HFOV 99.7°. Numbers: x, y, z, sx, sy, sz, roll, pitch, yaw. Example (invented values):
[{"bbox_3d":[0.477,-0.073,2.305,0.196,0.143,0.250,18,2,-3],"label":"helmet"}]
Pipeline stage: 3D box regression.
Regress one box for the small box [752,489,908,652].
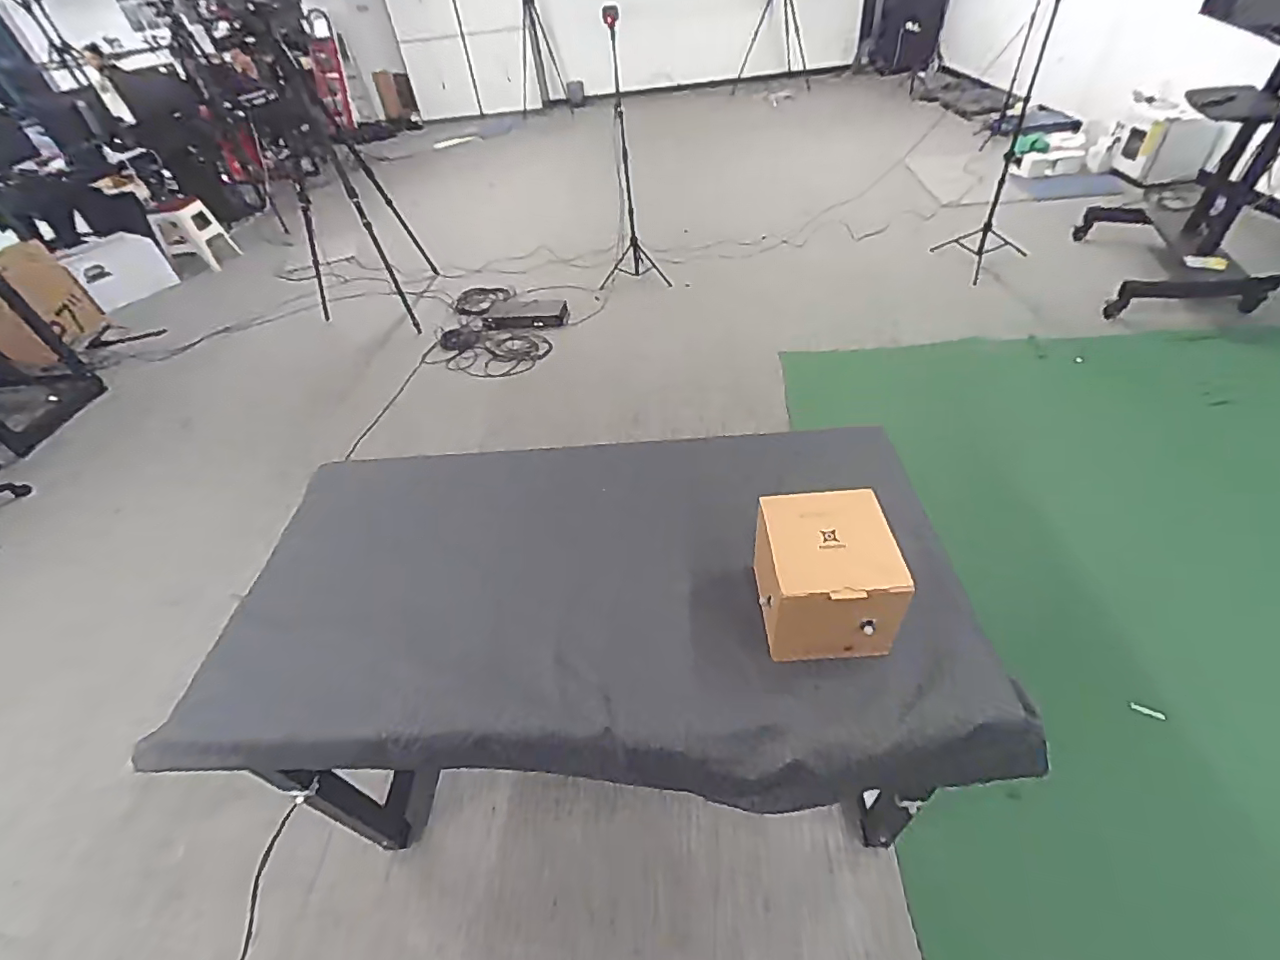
[{"bbox_3d":[0.260,0.136,0.786,0.168,0.176,0.179,-4,42,3],"label":"small box"}]
